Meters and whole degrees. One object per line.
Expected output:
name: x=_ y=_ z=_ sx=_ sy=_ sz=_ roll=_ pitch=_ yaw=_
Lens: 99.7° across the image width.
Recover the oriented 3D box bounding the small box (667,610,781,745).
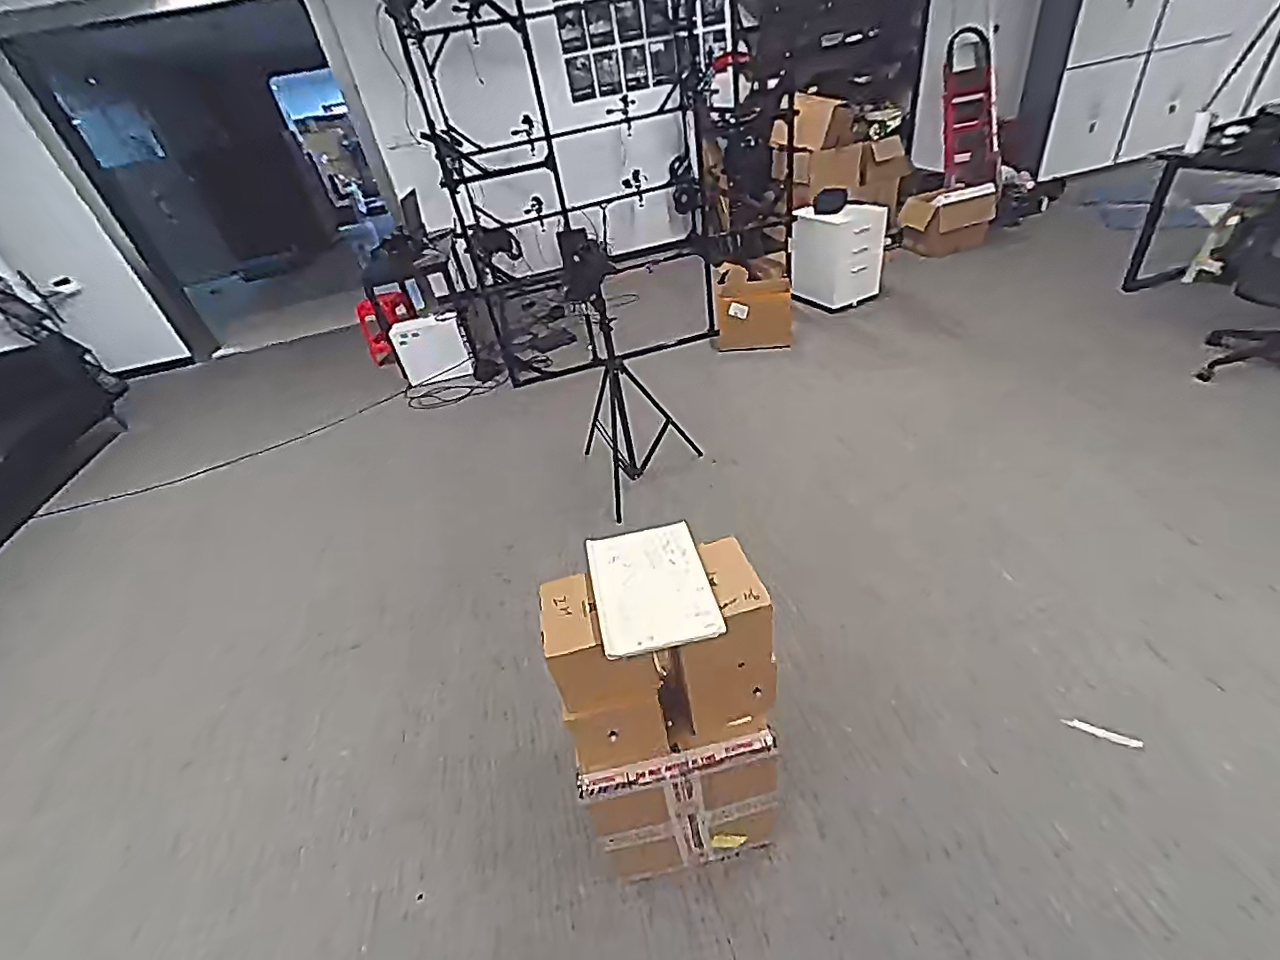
small box: x=0.165 y=0.398 z=1.088 sx=0.179 sy=0.176 sz=0.168 roll=-16 pitch=38 yaw=-7

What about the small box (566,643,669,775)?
small box: x=-0.042 y=0.453 z=1.068 sx=0.179 sy=0.176 sz=0.168 roll=-12 pitch=38 yaw=0
